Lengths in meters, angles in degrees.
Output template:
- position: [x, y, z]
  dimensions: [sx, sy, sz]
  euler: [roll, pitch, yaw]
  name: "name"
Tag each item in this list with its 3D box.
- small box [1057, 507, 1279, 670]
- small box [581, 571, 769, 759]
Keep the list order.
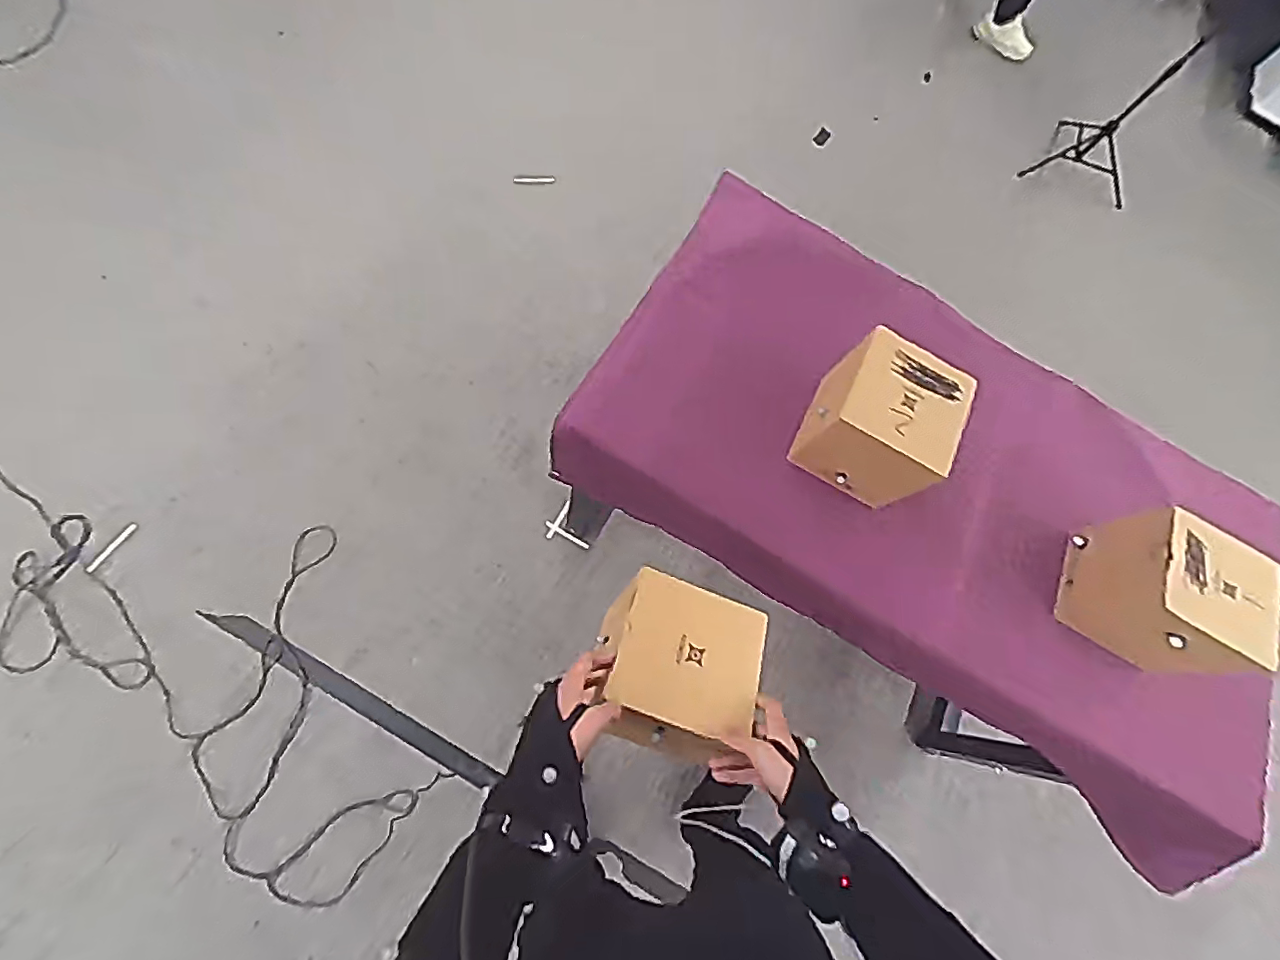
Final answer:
- position: [0.778, 0.169, 0.808]
  dimensions: [0.179, 0.176, 0.168]
  euler: [30, 69, 0]
  name: "small box"
- position: [0.040, 0.244, 0.694]
  dimensions: [0.179, 0.176, 0.168]
  euler: [21, 55, -4]
  name: "small box"
